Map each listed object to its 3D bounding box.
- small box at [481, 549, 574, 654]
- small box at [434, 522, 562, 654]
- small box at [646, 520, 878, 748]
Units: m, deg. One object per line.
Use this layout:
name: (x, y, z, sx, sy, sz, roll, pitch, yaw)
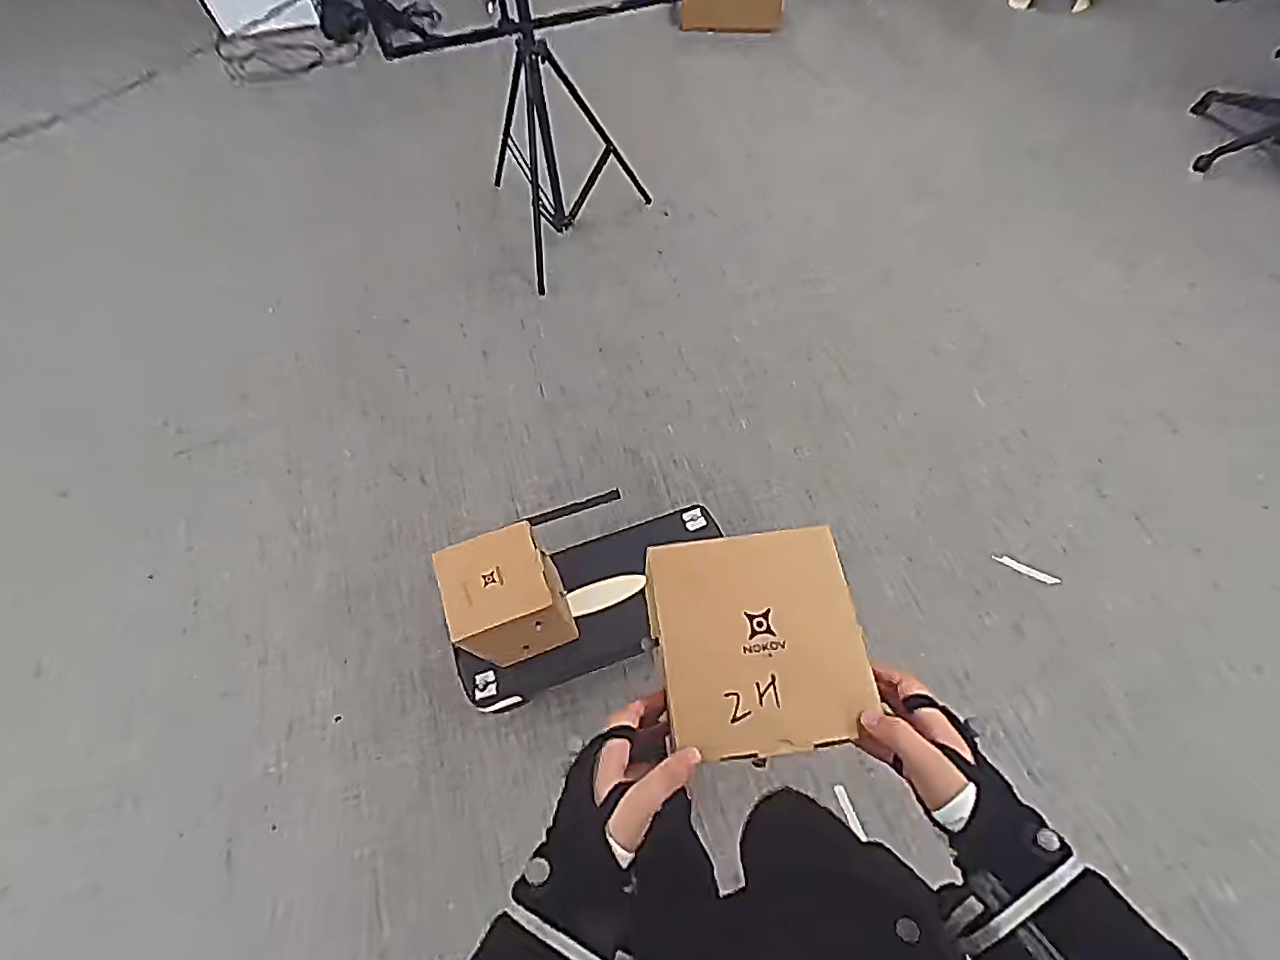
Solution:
small box: (-0.248, 0.272, 1.144, 0.179, 0.176, 0.168, -20, 66, -8)
small box: (-0.251, 0.203, 0.995, 0.179, 0.176, 0.168, -21, 65, -8)
small box: (0.096, 0.155, 0.526, 0.168, 0.176, 0.179, -6, 66, -3)
